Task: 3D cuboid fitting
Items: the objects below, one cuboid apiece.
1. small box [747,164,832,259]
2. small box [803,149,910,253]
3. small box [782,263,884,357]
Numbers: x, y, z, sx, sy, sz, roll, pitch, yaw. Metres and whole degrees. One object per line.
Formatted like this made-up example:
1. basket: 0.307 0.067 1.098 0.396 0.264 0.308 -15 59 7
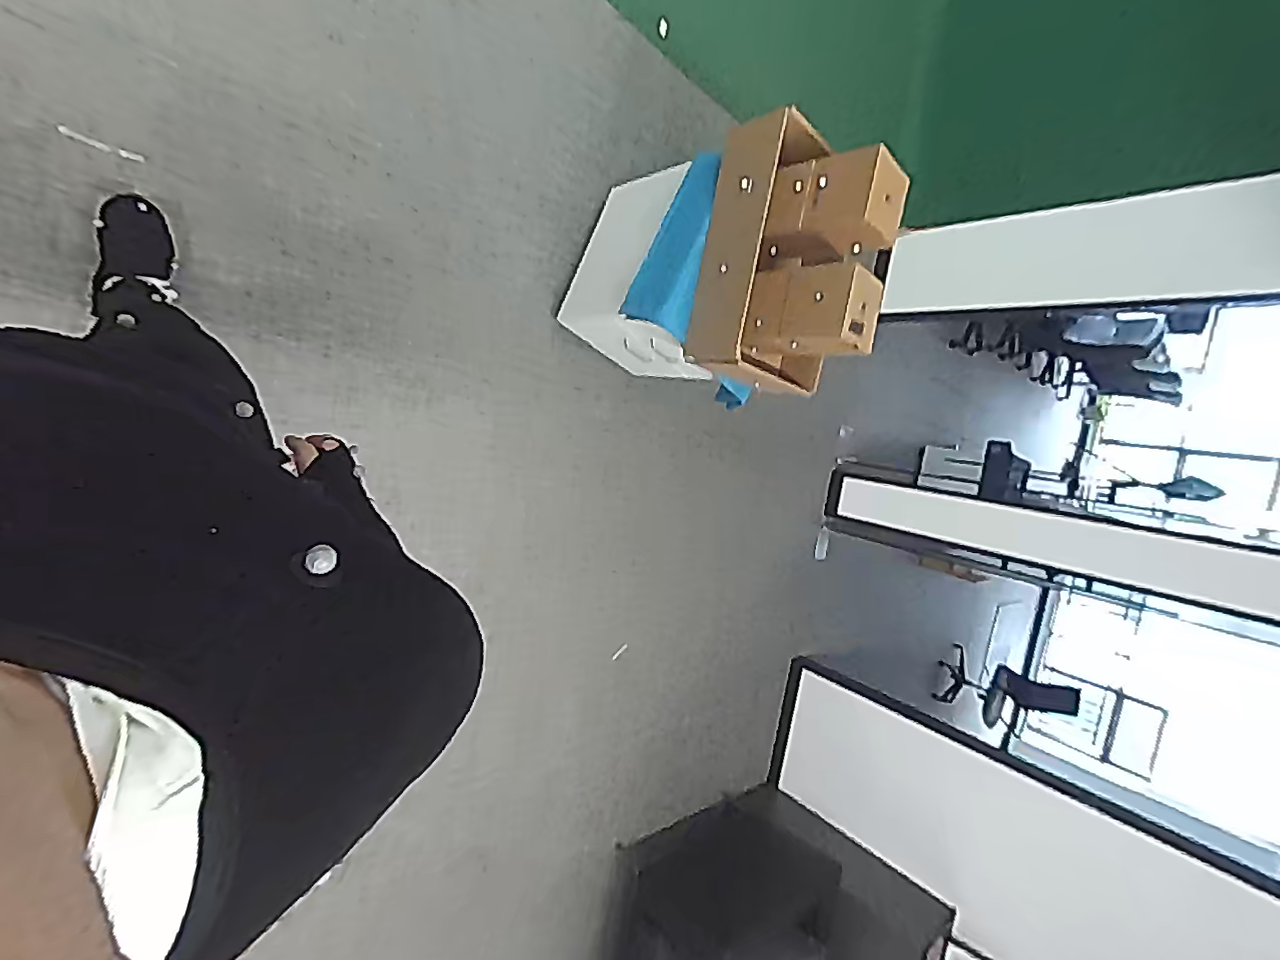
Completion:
1. small box: 0.412 -0.700 1.435 0.179 0.176 0.168 8 95 -45
2. small box: 0.527 -0.669 1.323 0.179 0.176 0.168 8 96 -44
3. small box: 0.472 -0.410 1.335 0.168 0.176 0.179 7 94 -45
